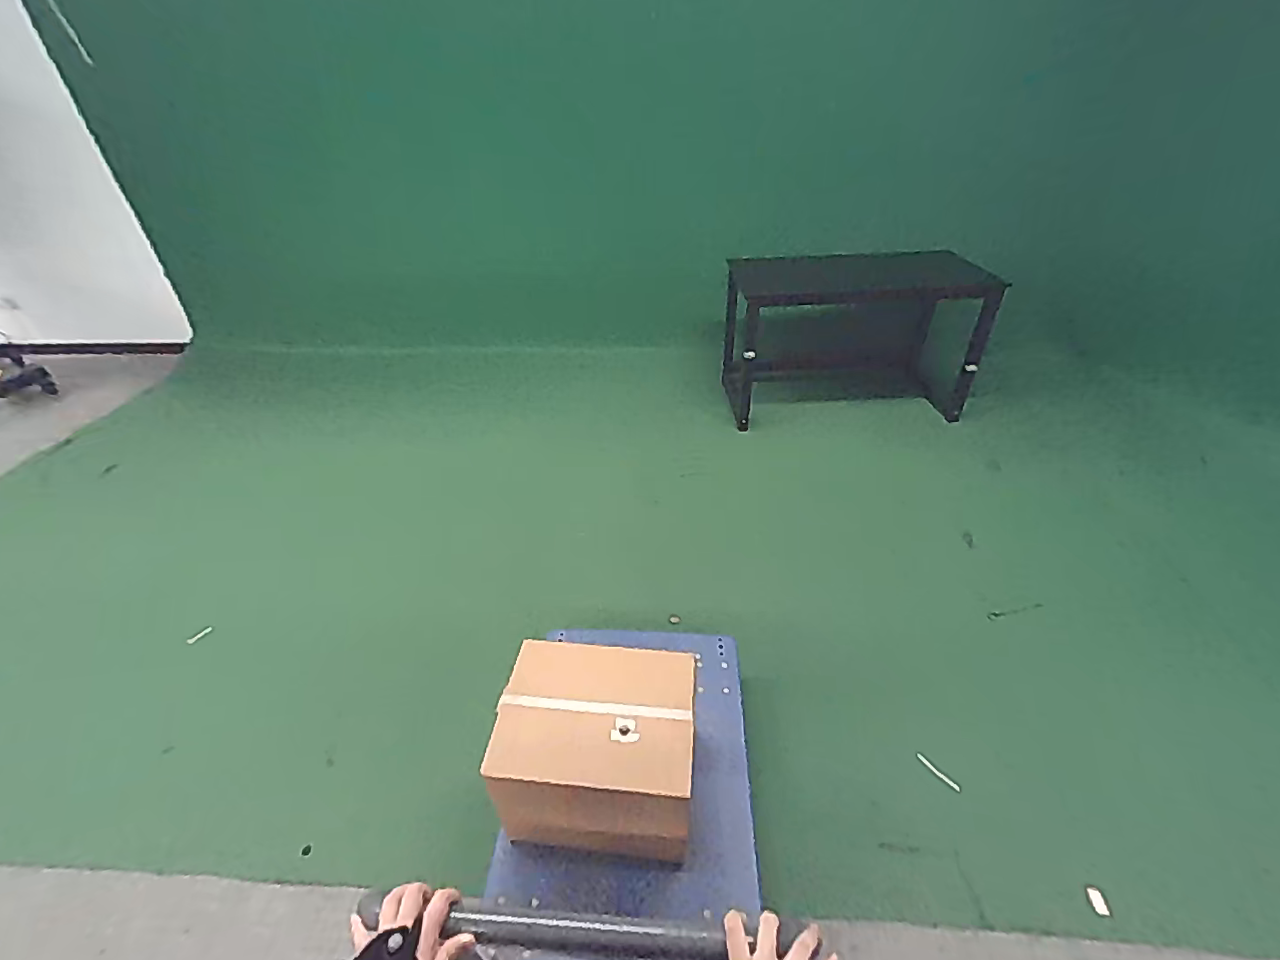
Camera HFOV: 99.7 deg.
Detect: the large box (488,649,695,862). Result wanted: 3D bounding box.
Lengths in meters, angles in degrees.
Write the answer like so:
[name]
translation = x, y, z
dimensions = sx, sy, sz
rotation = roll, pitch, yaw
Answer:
[large box]
translation = -0.086, 0.619, 1.230
dimensions = 0.408, 0.320, 0.320
rotation = 3, 36, 5
